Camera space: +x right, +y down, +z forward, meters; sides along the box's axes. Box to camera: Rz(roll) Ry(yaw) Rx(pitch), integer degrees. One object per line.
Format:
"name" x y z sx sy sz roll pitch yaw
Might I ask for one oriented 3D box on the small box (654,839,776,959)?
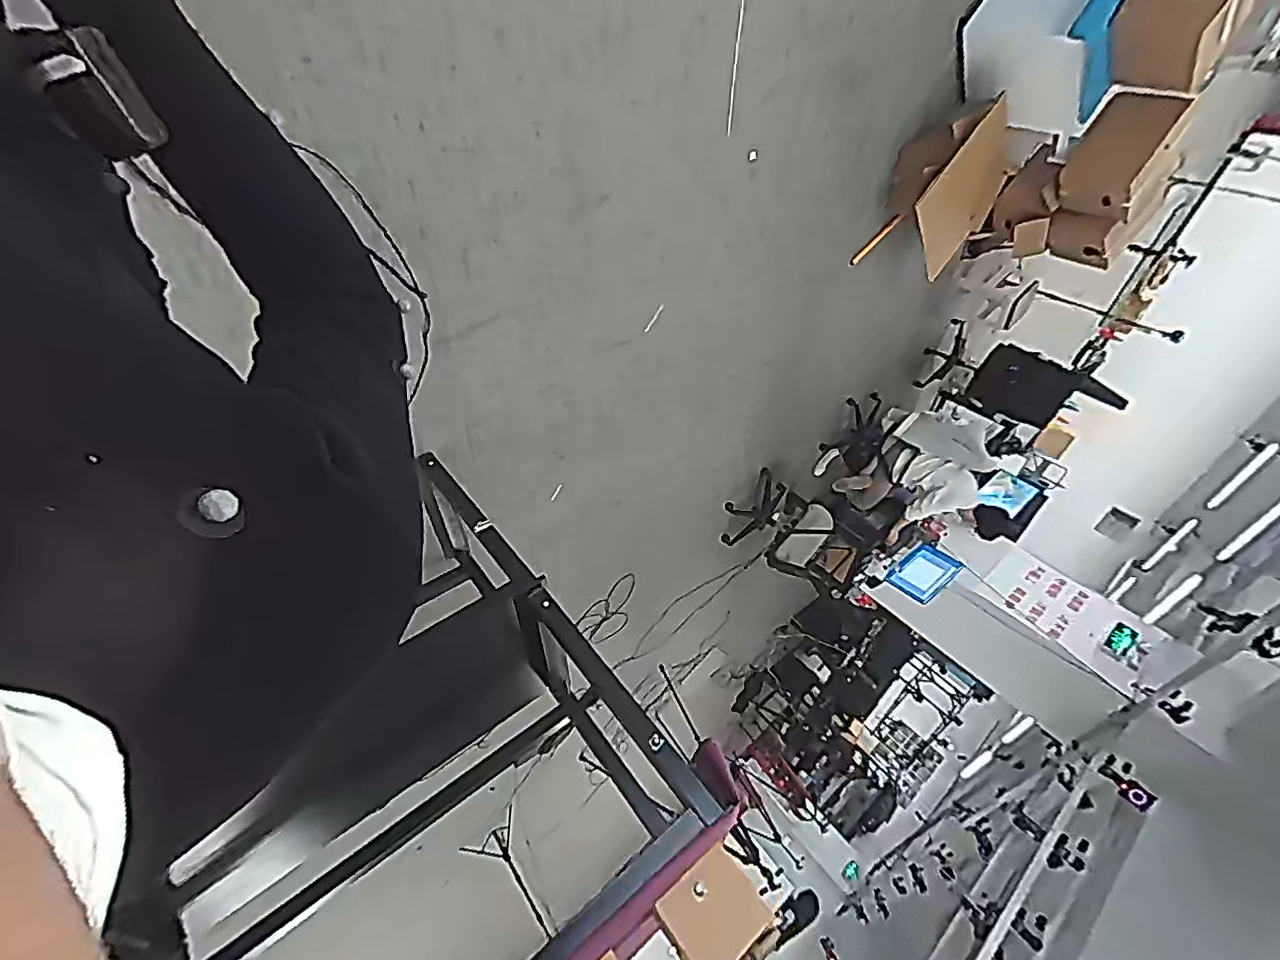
"small box" 0.142 0.879 1.093 0.179 0.176 0.168 -29 142 -26
